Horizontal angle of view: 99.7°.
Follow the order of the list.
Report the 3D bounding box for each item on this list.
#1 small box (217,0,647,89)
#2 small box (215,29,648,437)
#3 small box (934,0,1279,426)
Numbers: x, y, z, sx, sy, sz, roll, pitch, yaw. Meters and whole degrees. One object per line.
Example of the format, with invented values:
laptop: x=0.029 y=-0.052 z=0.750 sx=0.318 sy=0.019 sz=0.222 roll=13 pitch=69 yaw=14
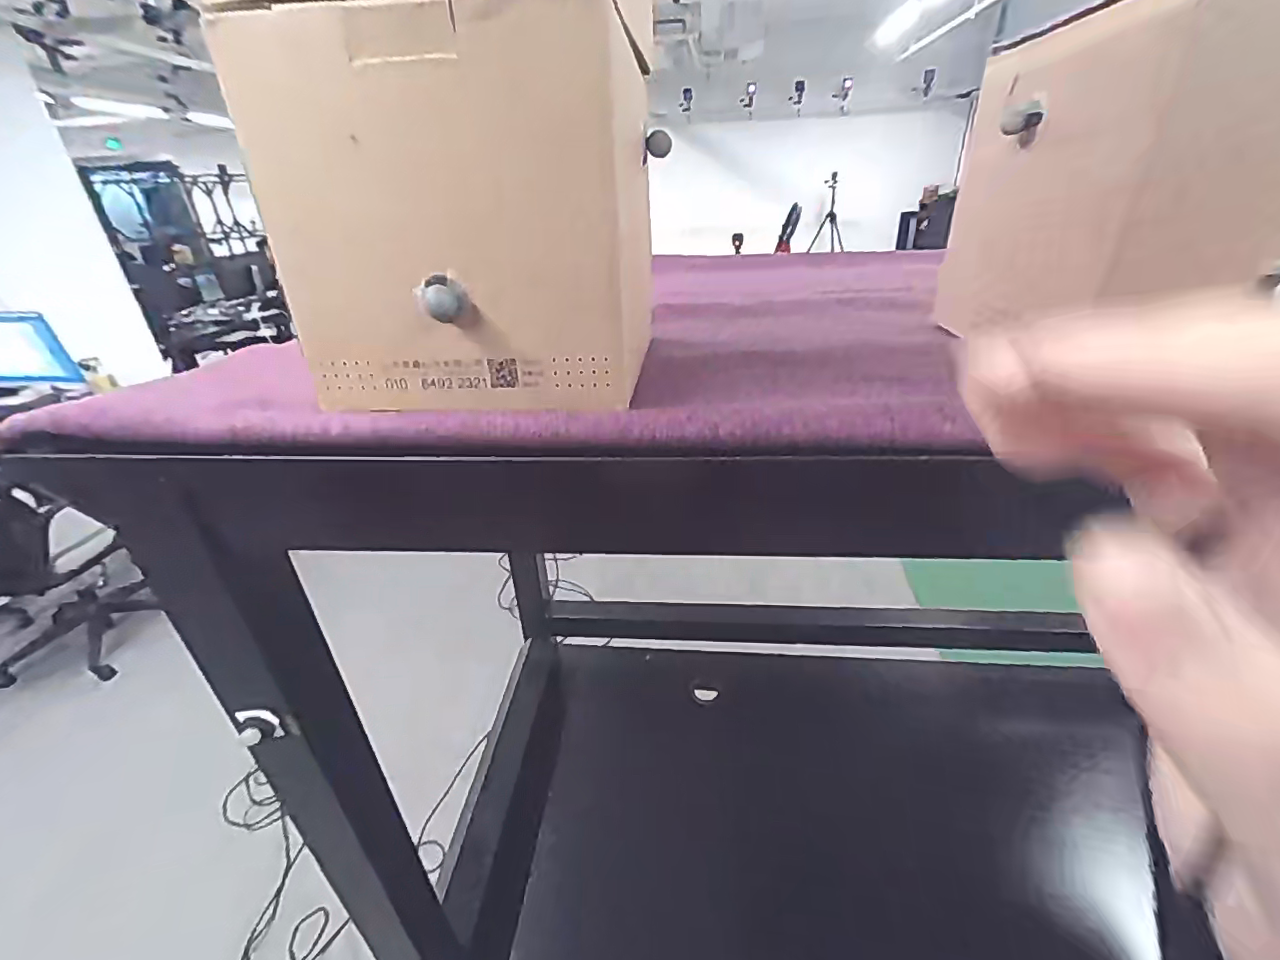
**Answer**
small box: x=-0.088 y=-0.278 z=0.245 sx=0.168 sy=0.176 sz=0.179 roll=1 pitch=28 yaw=8
small box: x=-0.084 y=-0.135 z=0.322 sx=0.168 sy=0.176 sz=0.179 roll=0 pitch=28 yaw=6
small box: x=0.289 y=-0.139 z=0.298 sx=0.168 sy=0.176 sz=0.179 roll=1 pitch=30 yaw=7
